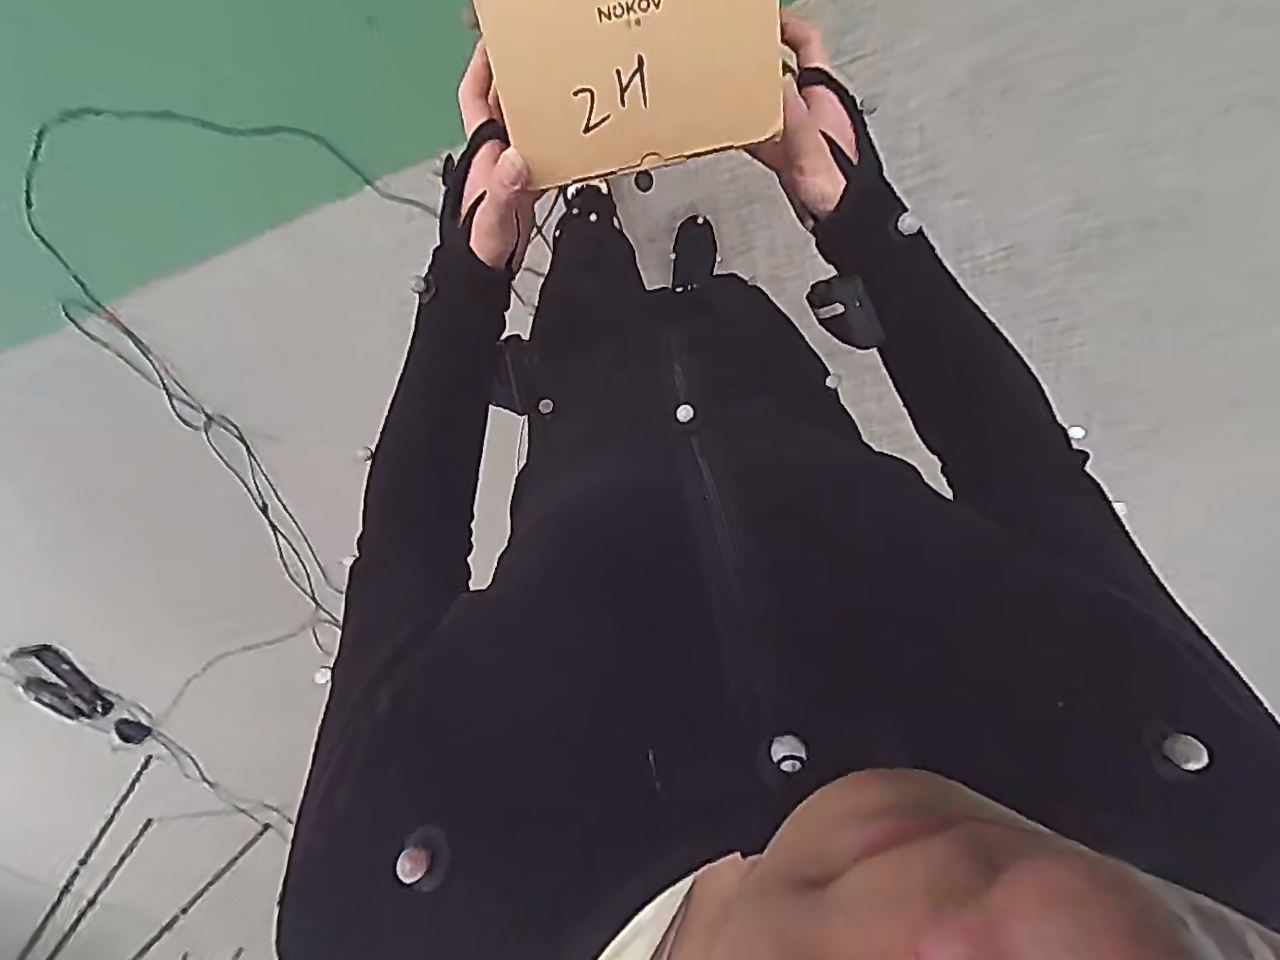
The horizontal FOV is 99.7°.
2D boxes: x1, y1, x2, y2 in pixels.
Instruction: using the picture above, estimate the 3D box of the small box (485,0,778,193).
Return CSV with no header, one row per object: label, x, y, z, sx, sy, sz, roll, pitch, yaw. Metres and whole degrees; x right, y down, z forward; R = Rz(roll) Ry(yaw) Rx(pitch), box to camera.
small box,-0.009,-0.309,0.373,0.168,0.176,0.179,-9,120,3
